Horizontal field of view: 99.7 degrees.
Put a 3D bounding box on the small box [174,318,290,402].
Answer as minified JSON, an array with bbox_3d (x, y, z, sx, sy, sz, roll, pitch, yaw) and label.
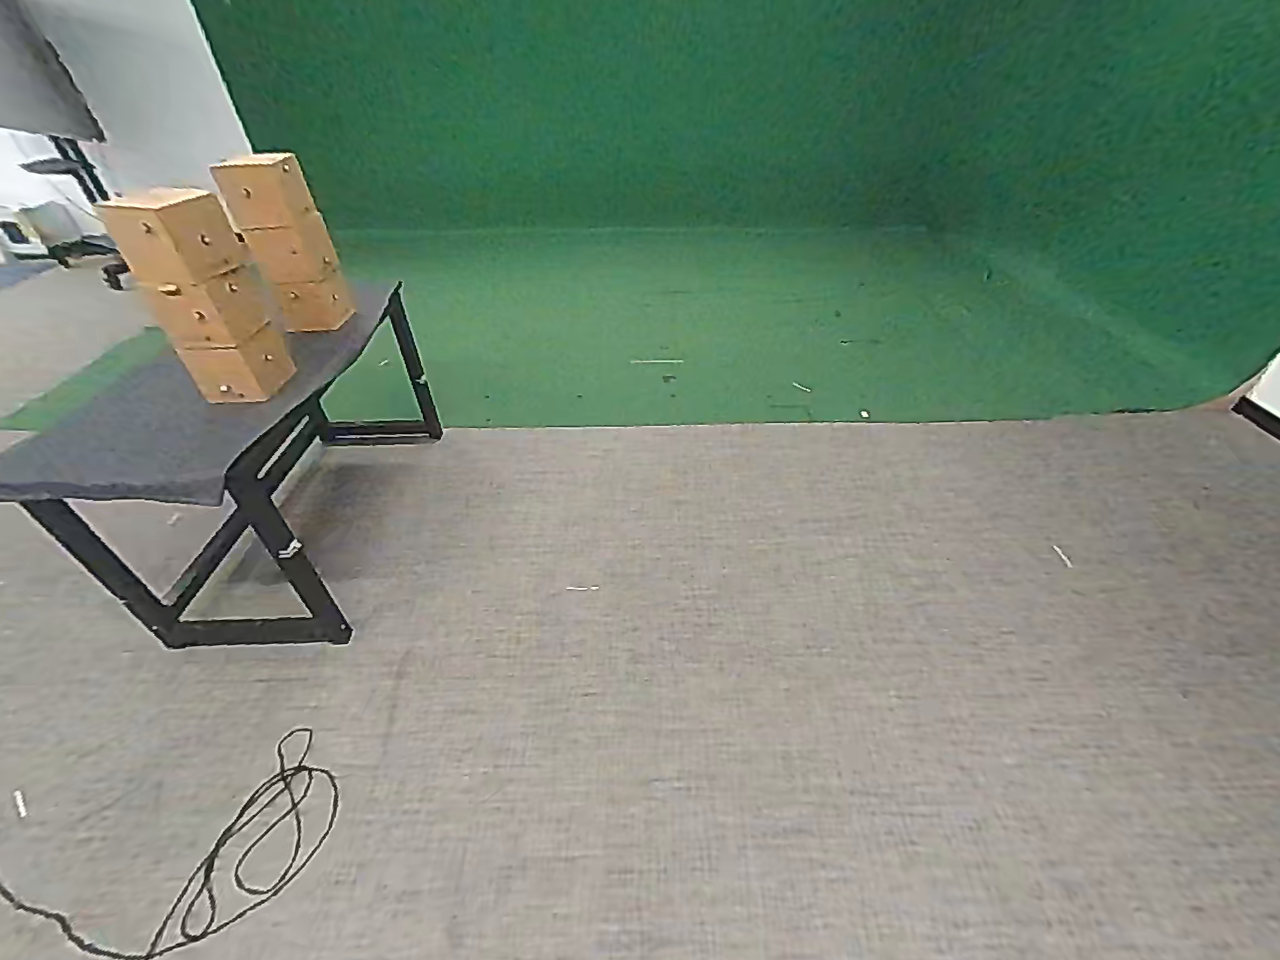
[{"bbox_3d":[-1.107,-0.333,1.491,0.168,0.176,0.179,-1,41,1],"label":"small box"}]

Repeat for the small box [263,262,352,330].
[{"bbox_3d":[-1.112,-0.622,1.830,0.179,0.176,0.168,-2,41,1],"label":"small box"}]

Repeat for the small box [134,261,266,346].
[{"bbox_3d":[-1.108,-0.454,1.383,0.168,0.176,0.179,0,40,1],"label":"small box"}]

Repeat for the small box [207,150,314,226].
[{"bbox_3d":[-1.121,-0.869,1.614,0.179,0.176,0.168,-4,41,-2],"label":"small box"}]

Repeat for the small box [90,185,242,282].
[{"bbox_3d":[-1.103,-0.581,1.278,0.179,0.176,0.168,8,41,10],"label":"small box"}]
